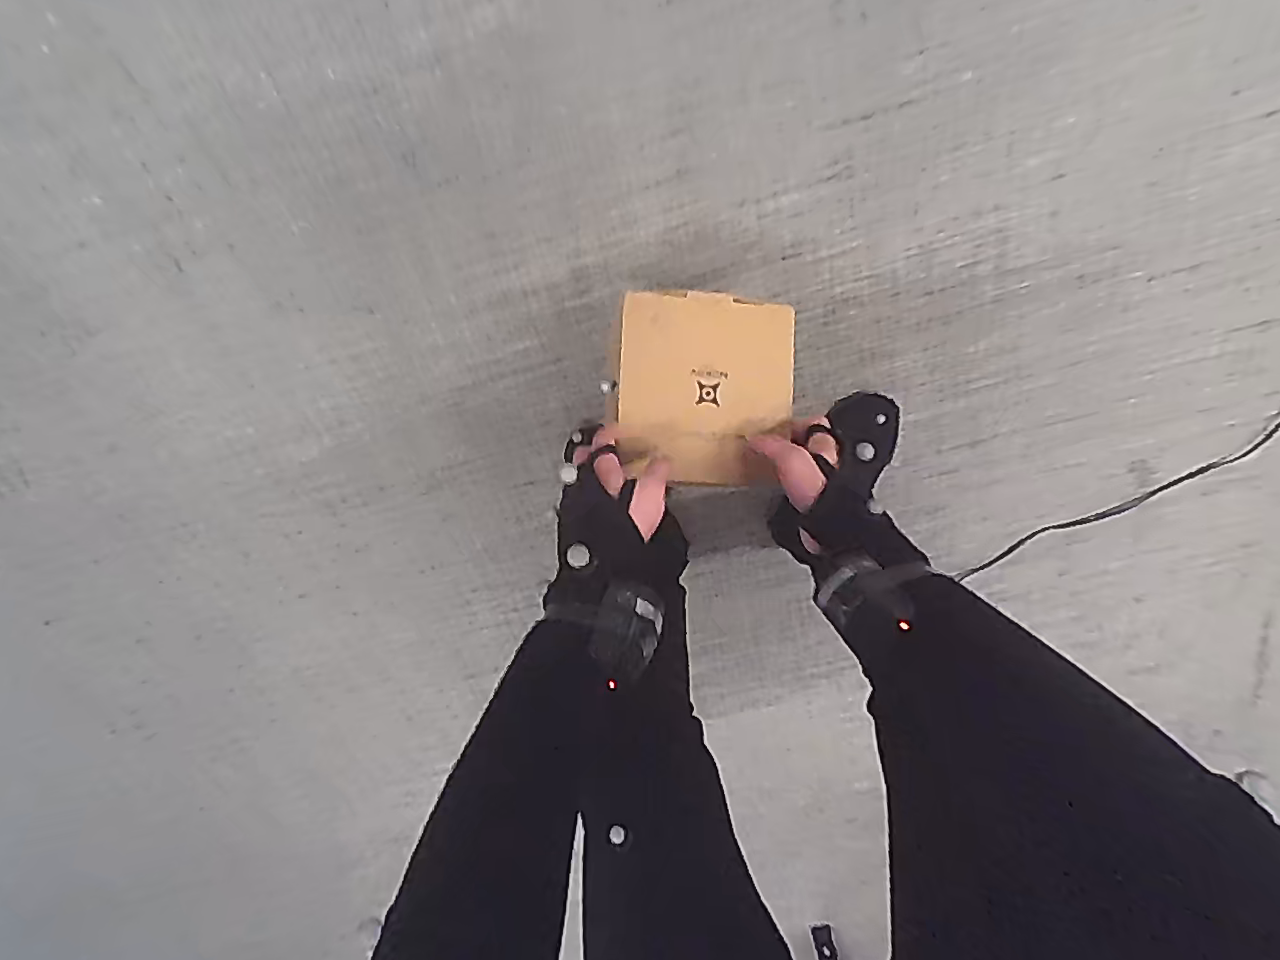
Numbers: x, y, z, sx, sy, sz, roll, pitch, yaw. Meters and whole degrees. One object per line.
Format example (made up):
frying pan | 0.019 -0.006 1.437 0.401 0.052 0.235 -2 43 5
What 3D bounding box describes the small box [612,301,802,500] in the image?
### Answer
small box | 0.058 -0.069 0.572 0.168 0.176 0.179 1 88 -7
